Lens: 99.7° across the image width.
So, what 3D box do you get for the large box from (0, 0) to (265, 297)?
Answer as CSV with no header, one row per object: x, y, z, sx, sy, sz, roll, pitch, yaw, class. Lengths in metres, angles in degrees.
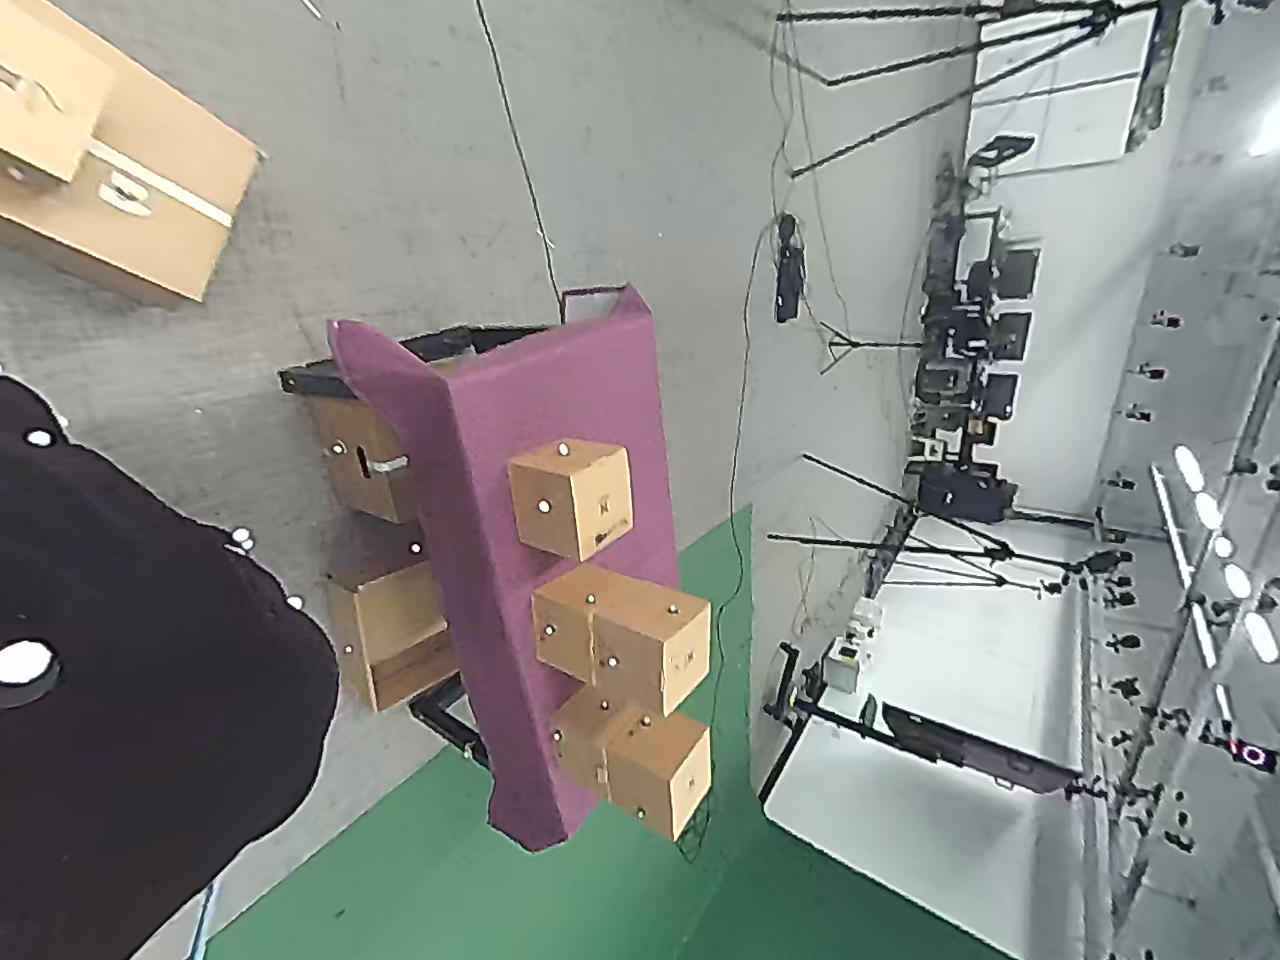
-0.958,-0.547,0.904,0.408,0.320,0.320,26,80,-55,large box

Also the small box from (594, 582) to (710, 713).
0.024,0.328,1.099,0.179,0.176,0.168,-21,116,-49,small box

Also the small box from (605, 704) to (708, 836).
0.039,0.632,1.210,0.168,0.176,0.179,-29,122,-48,small box

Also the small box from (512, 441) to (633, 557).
-0.134,0.027,1.072,0.168,0.176,0.179,-29,122,-46,small box

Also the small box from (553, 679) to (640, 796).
-0.093,0.601,1.300,0.179,0.176,0.168,-30,123,-48,small box

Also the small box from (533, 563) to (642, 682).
-0.112,0.300,1.189,0.179,0.176,0.168,-23,118,-49,small box
